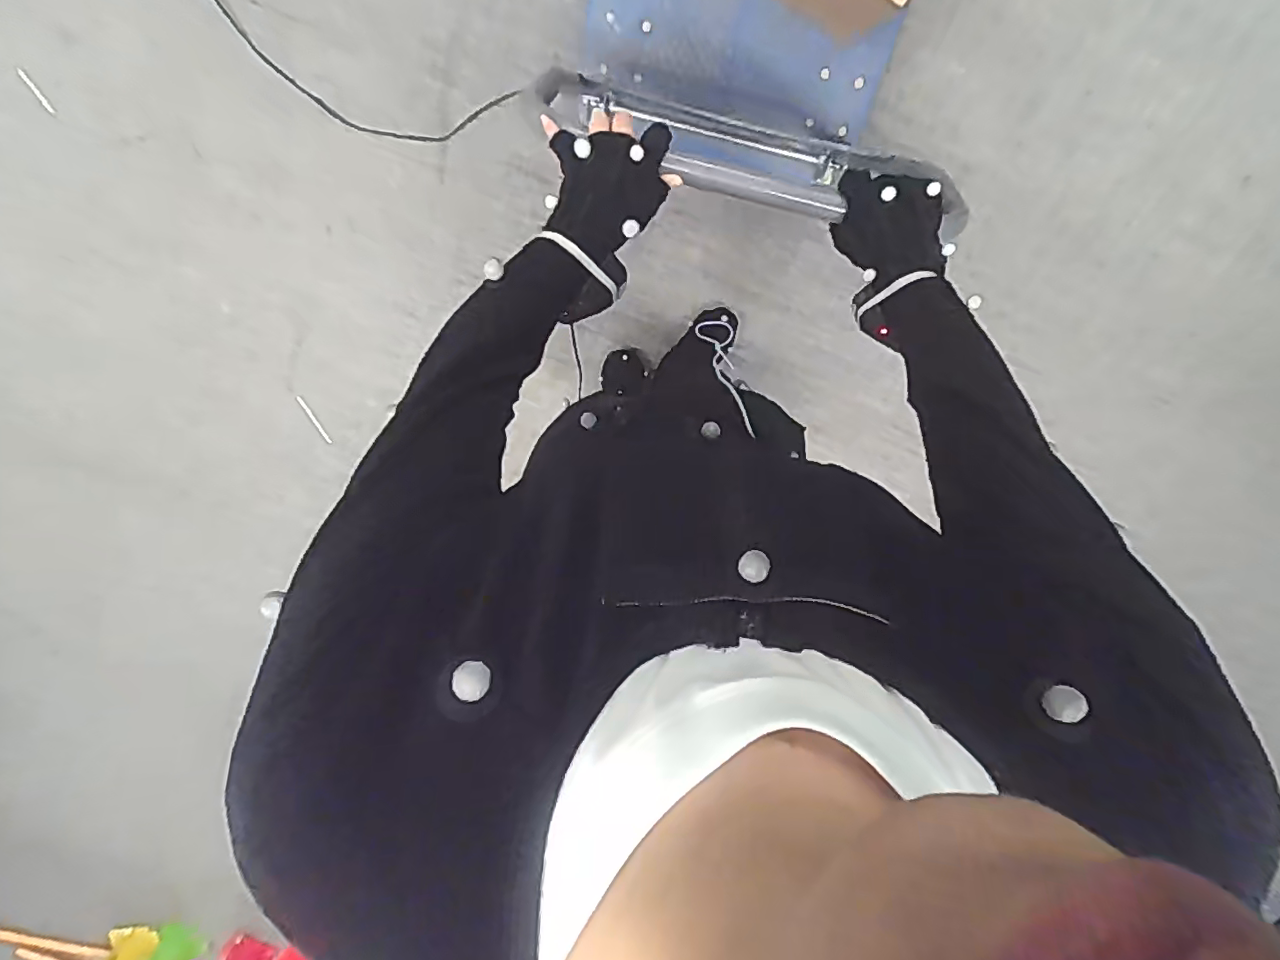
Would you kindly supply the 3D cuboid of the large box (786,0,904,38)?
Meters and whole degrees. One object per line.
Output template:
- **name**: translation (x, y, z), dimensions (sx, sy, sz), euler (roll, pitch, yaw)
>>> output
- **large box**: translation (0.268, -0.935, 0.777), dimensions (0.408, 0.320, 0.320), euler (25, 119, -11)
